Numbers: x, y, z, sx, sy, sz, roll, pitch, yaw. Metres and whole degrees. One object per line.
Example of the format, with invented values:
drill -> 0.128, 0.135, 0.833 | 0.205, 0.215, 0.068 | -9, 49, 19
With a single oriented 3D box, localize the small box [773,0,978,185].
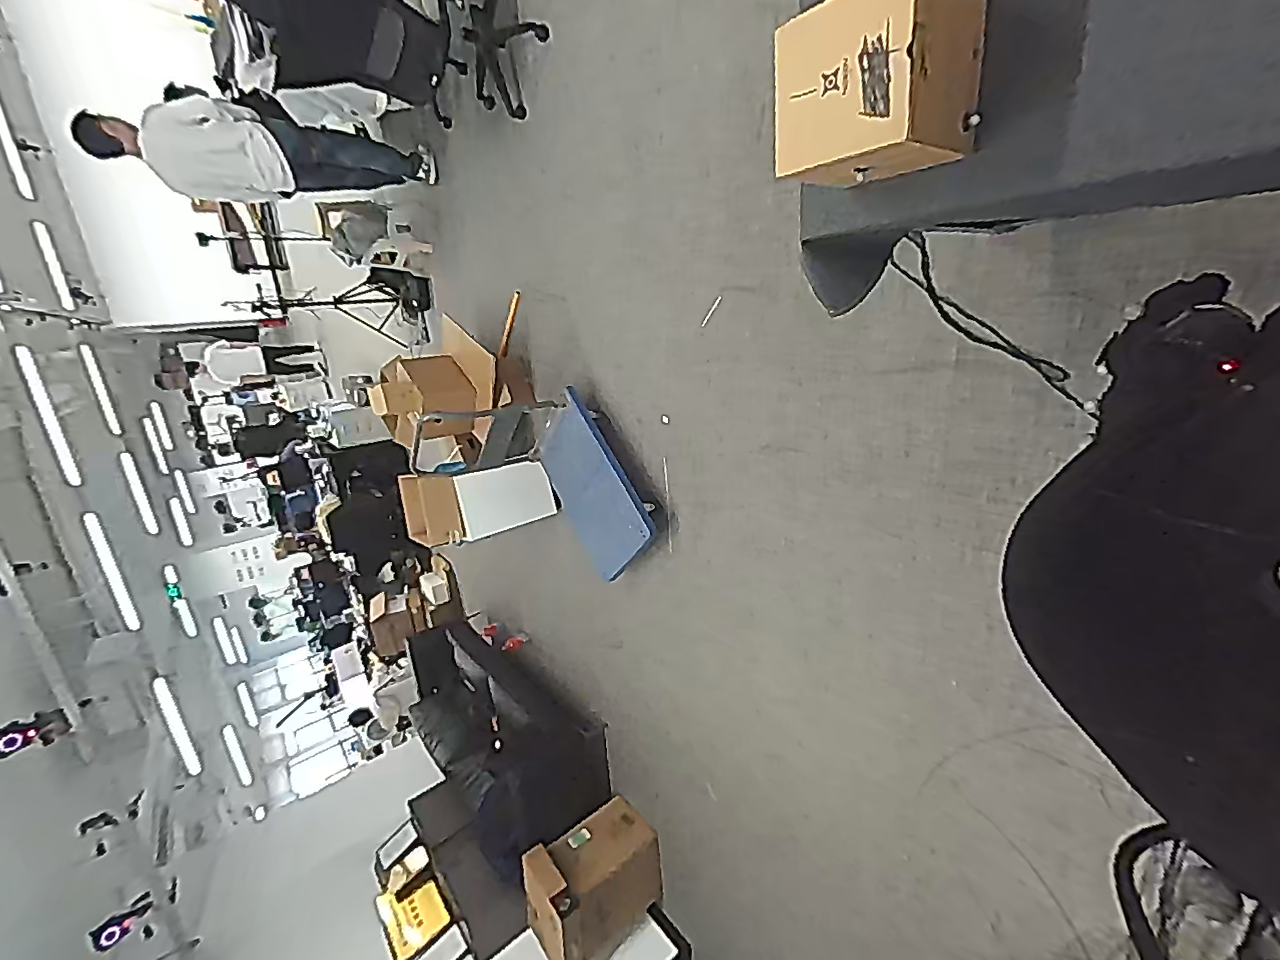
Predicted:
small box -> 0.286, -0.475, 0.664 | 0.179, 0.176, 0.168 | 16, 116, 49
